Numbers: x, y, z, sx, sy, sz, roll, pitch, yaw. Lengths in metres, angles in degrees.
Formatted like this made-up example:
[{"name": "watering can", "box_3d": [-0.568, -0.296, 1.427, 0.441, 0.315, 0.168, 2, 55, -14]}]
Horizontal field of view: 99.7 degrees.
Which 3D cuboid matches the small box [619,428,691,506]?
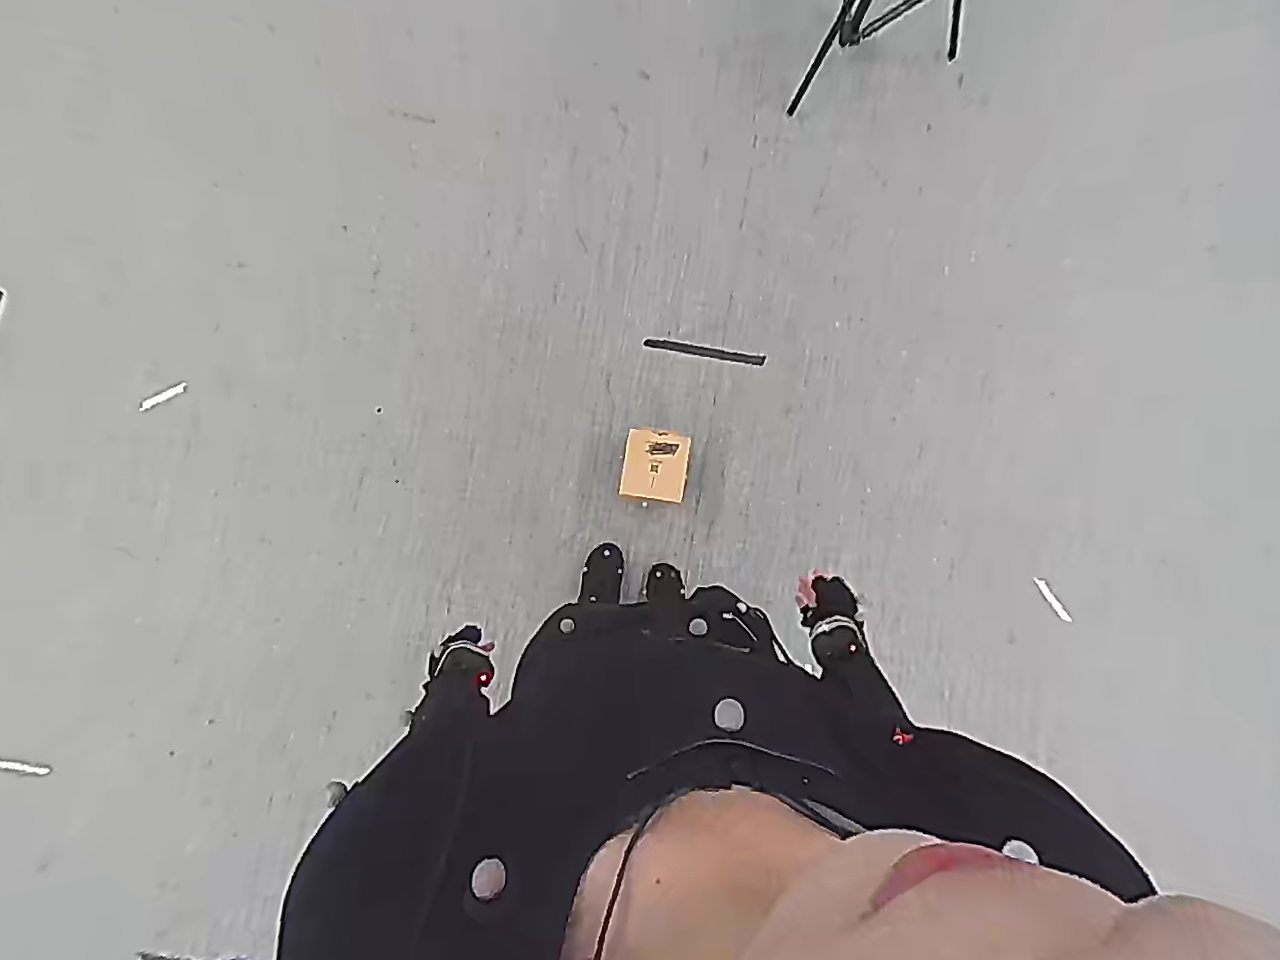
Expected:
[{"name": "small box", "box_3d": [0.035, -0.029, 1.476, 0.168, 0.176, 0.179, 9, 85, -2]}]
